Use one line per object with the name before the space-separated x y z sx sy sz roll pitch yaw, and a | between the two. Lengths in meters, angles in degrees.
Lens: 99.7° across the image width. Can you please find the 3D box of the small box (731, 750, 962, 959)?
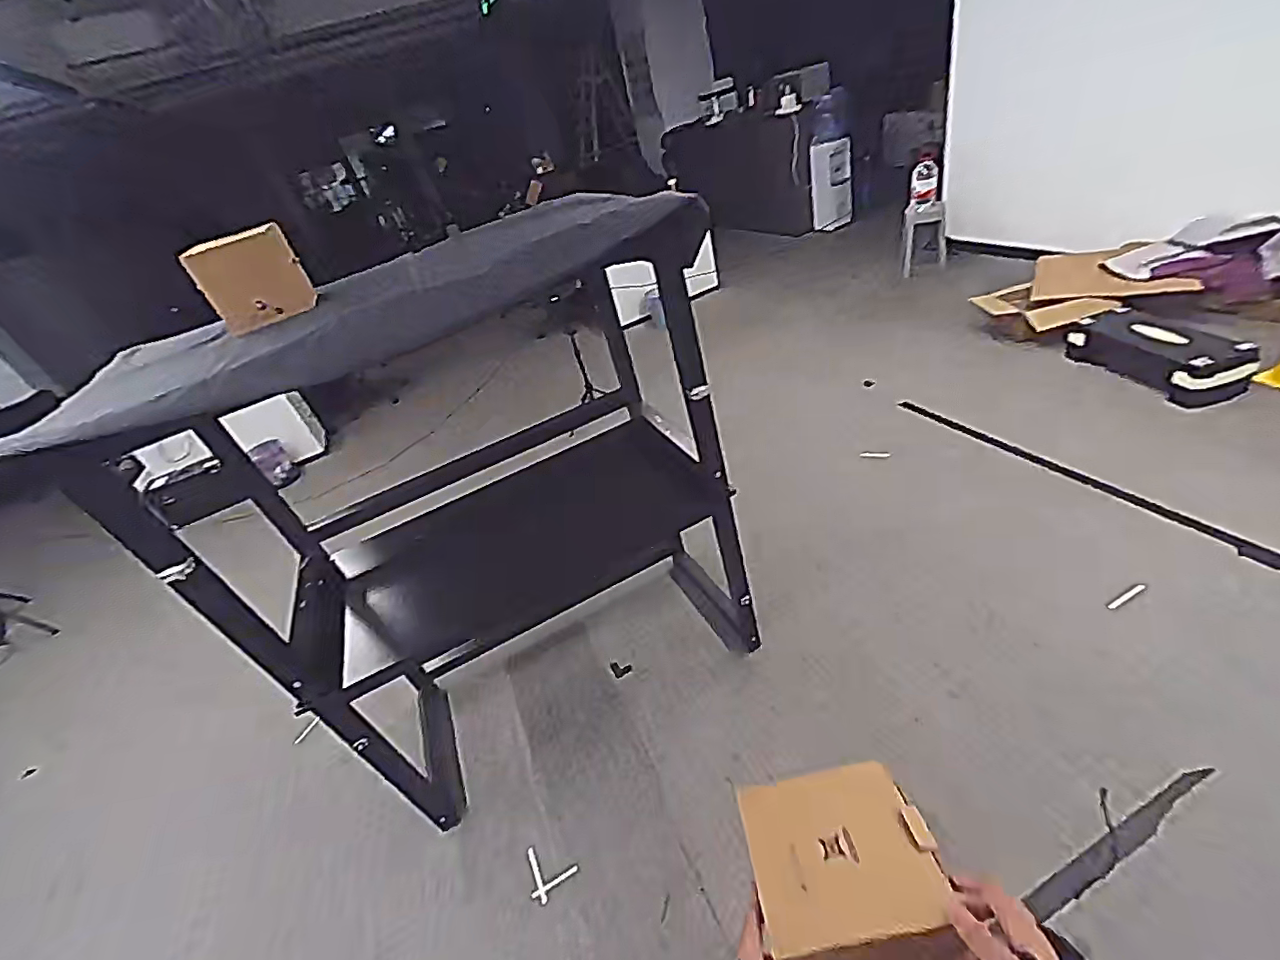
small box | 0.211 0.430 0.575 0.179 0.176 0.168 -15 21 3
